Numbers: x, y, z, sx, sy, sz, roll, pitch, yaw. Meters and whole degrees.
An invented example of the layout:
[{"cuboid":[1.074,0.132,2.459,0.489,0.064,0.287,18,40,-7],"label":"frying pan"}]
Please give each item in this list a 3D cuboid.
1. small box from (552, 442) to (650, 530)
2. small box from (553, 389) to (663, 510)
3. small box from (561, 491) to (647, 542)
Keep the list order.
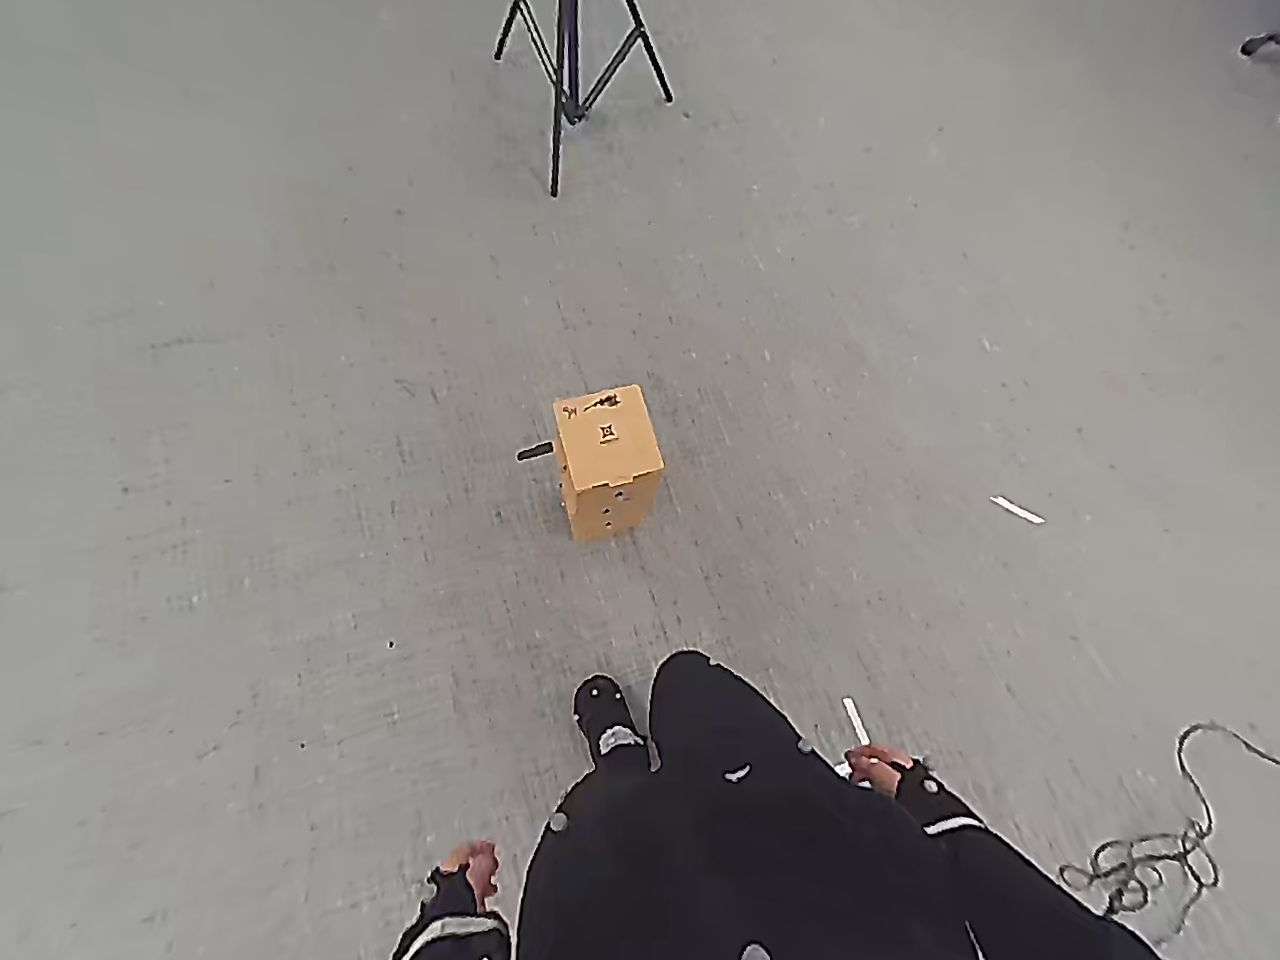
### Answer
[{"cuboid":[-0.087,0.003,1.190,0.179,0.176,0.168,-13,76,-9],"label":"small box"},{"cuboid":[-0.063,-0.049,1.036,0.168,0.176,0.179,-14,76,-10],"label":"small box"},{"cuboid":[-0.097,0.046,1.348,0.179,0.176,0.168,-16,76,-10],"label":"small box"}]
